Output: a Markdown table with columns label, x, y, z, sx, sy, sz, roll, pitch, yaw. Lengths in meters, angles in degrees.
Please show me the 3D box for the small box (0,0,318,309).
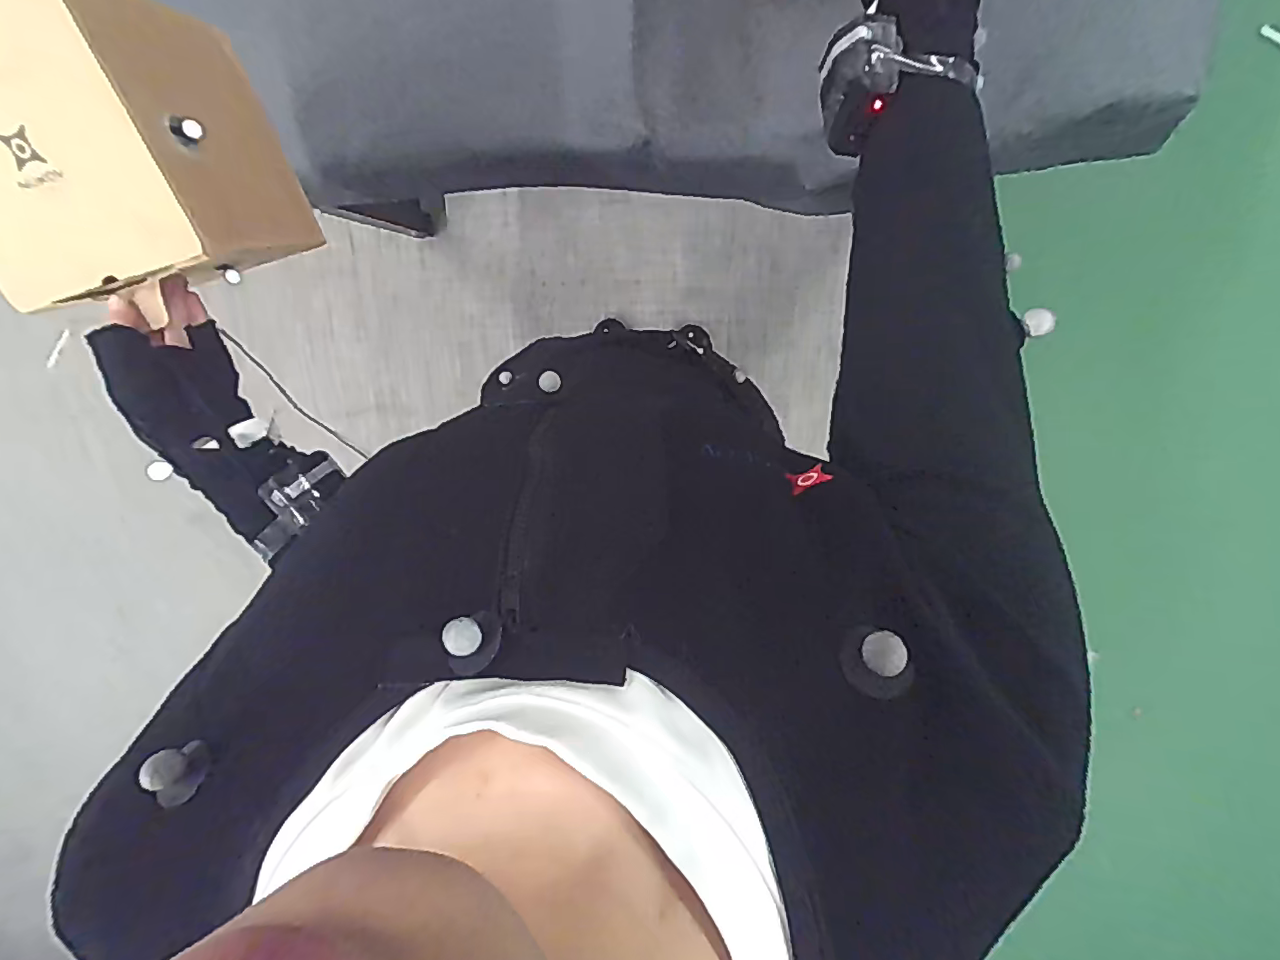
| label | x | y | z | sx | sy | sz | roll | pitch | yaw |
| --- | --- | --- | --- | --- | --- | --- | --- | --- | --- |
| small box | -0.403 | -0.255 | 0.427 | 0.168 | 0.176 | 0.179 | -14 | 116 | 6 |
